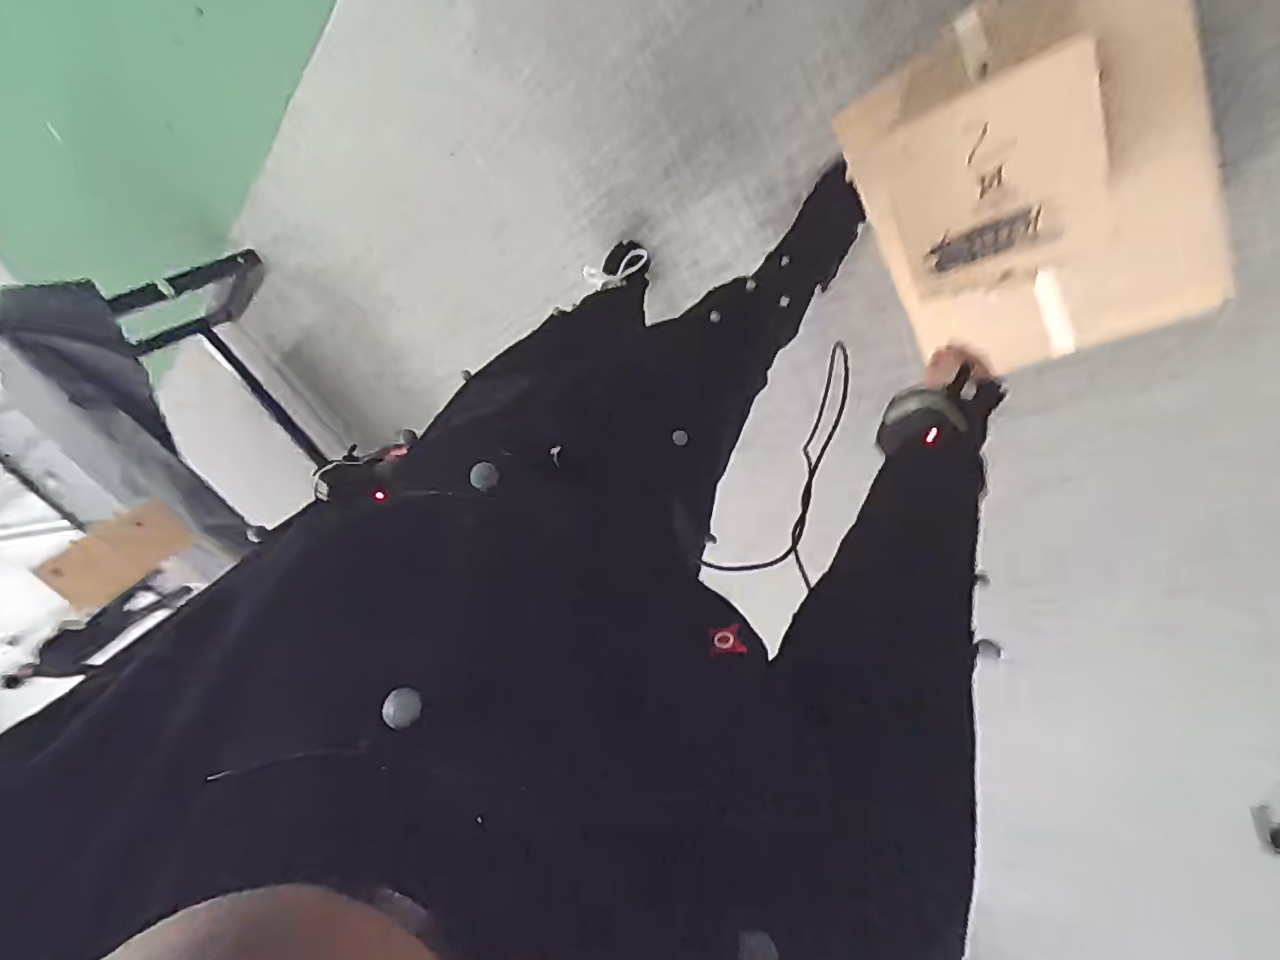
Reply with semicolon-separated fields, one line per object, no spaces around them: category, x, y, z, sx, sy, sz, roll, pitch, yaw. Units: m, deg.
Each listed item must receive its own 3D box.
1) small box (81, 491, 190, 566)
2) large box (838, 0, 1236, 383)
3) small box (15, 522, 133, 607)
small box;-1.571;0.146;1.686;0.168;0.176;0.179;-3;126;38
large box;0.522;-0.415;0.738;0.320;0.320;0.408;-14;120;42
small box;-1.649;0.244;1.582;0.168;0.176;0.179;-3;125;38
